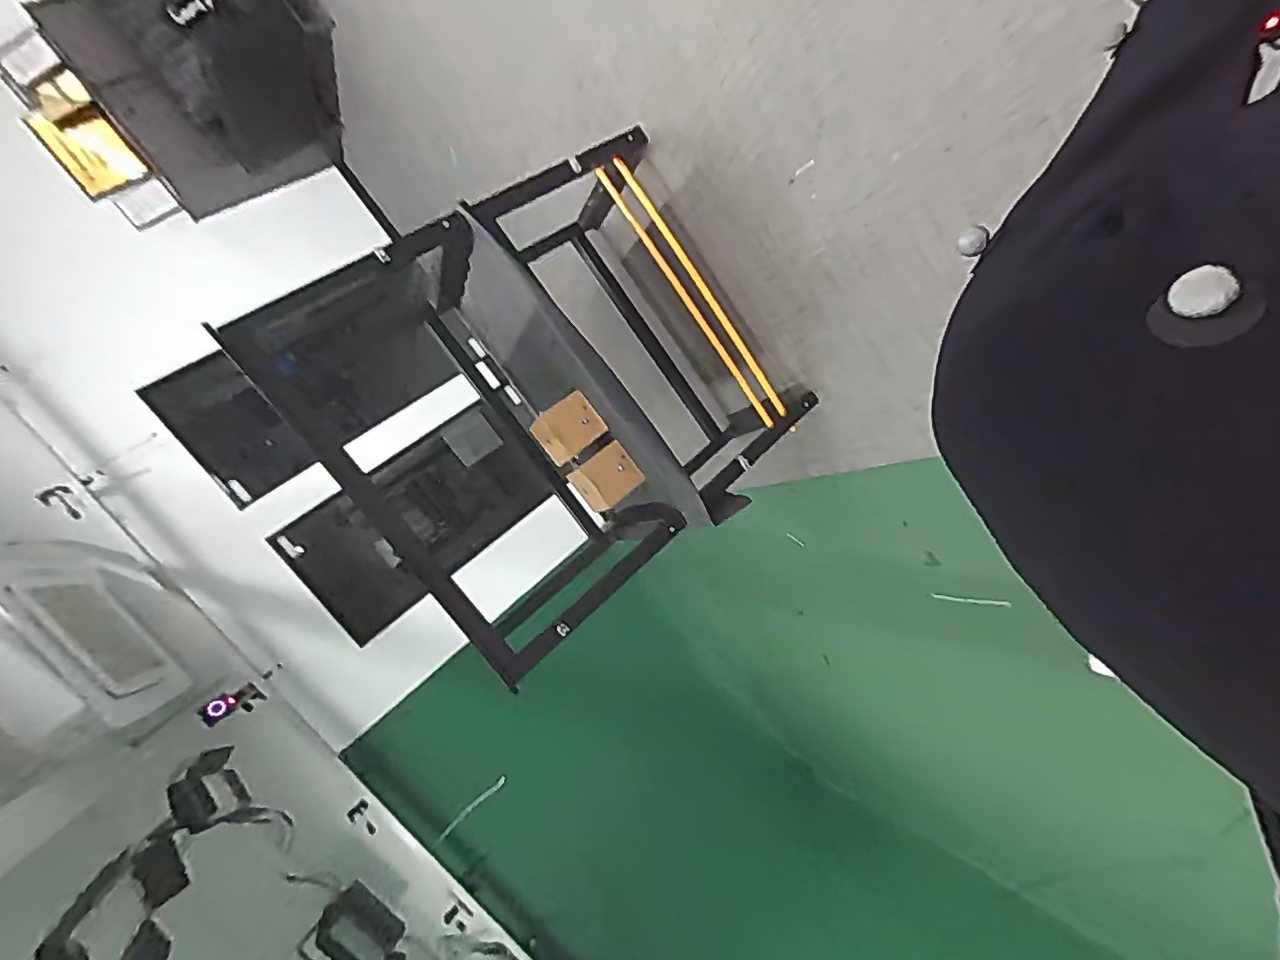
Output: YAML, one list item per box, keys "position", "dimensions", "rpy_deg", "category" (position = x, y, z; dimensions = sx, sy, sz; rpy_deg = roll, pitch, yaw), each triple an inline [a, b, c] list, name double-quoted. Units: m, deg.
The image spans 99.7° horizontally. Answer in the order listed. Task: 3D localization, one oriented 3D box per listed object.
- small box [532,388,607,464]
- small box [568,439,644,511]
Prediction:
- position: [-0.234, -0.179, 1.811]
  dimensions: [0.168, 0.176, 0.179]
  rpy_deg: [52, 157, -7]
  category: "small box"
- position: [-0.112, -0.017, 1.831]
  dimensions: [0.168, 0.176, 0.179]
  rpy_deg: [52, 157, -6]
  category: "small box"
